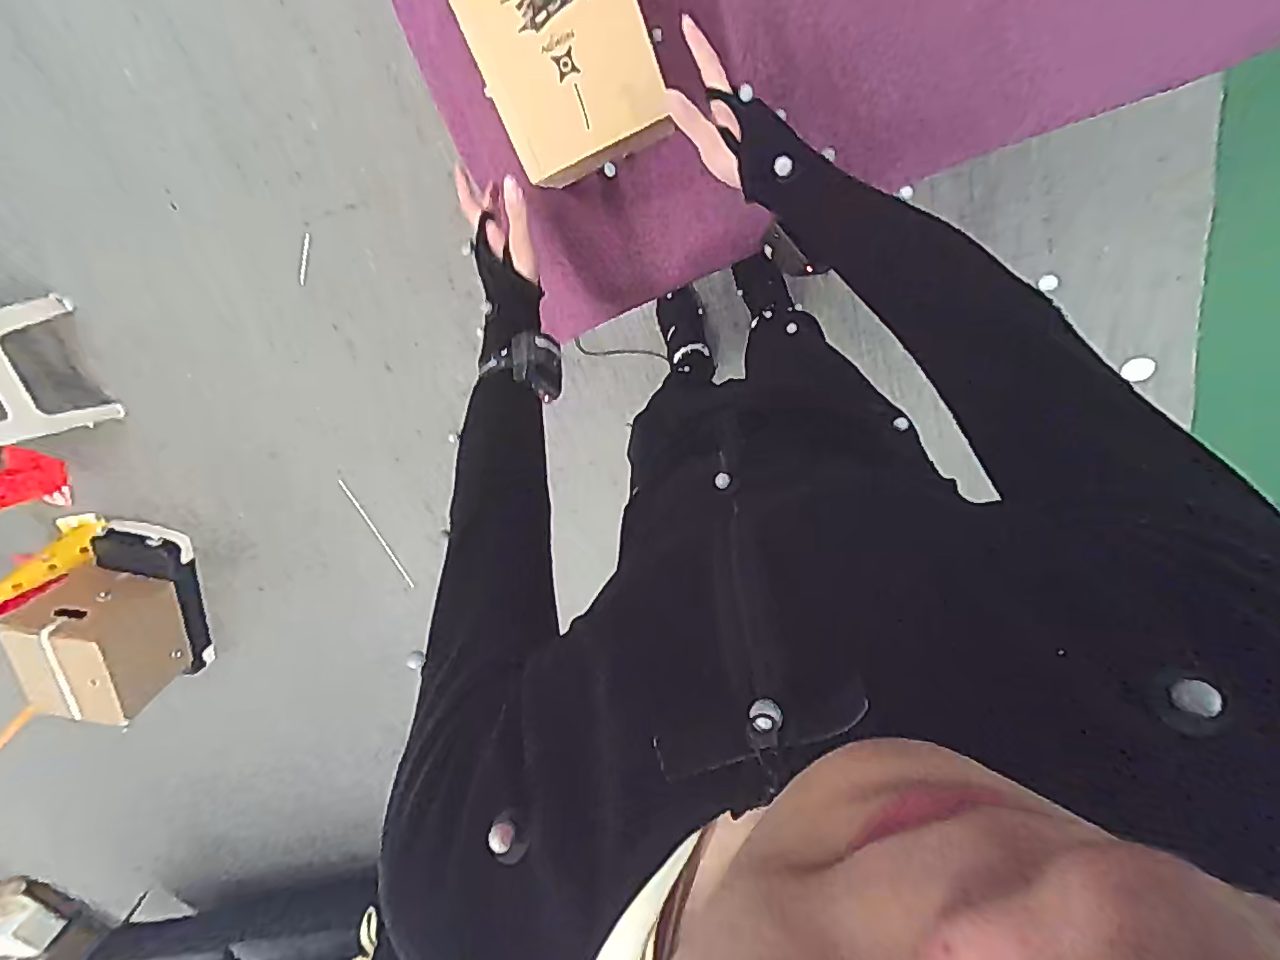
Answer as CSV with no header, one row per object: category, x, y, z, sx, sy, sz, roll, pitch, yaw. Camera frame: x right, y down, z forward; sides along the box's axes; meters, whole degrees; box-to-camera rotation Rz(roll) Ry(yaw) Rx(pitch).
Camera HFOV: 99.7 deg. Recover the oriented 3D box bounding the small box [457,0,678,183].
small box,-0.066,-0.448,0.589,0.168,0.176,0.179,-19,115,13
